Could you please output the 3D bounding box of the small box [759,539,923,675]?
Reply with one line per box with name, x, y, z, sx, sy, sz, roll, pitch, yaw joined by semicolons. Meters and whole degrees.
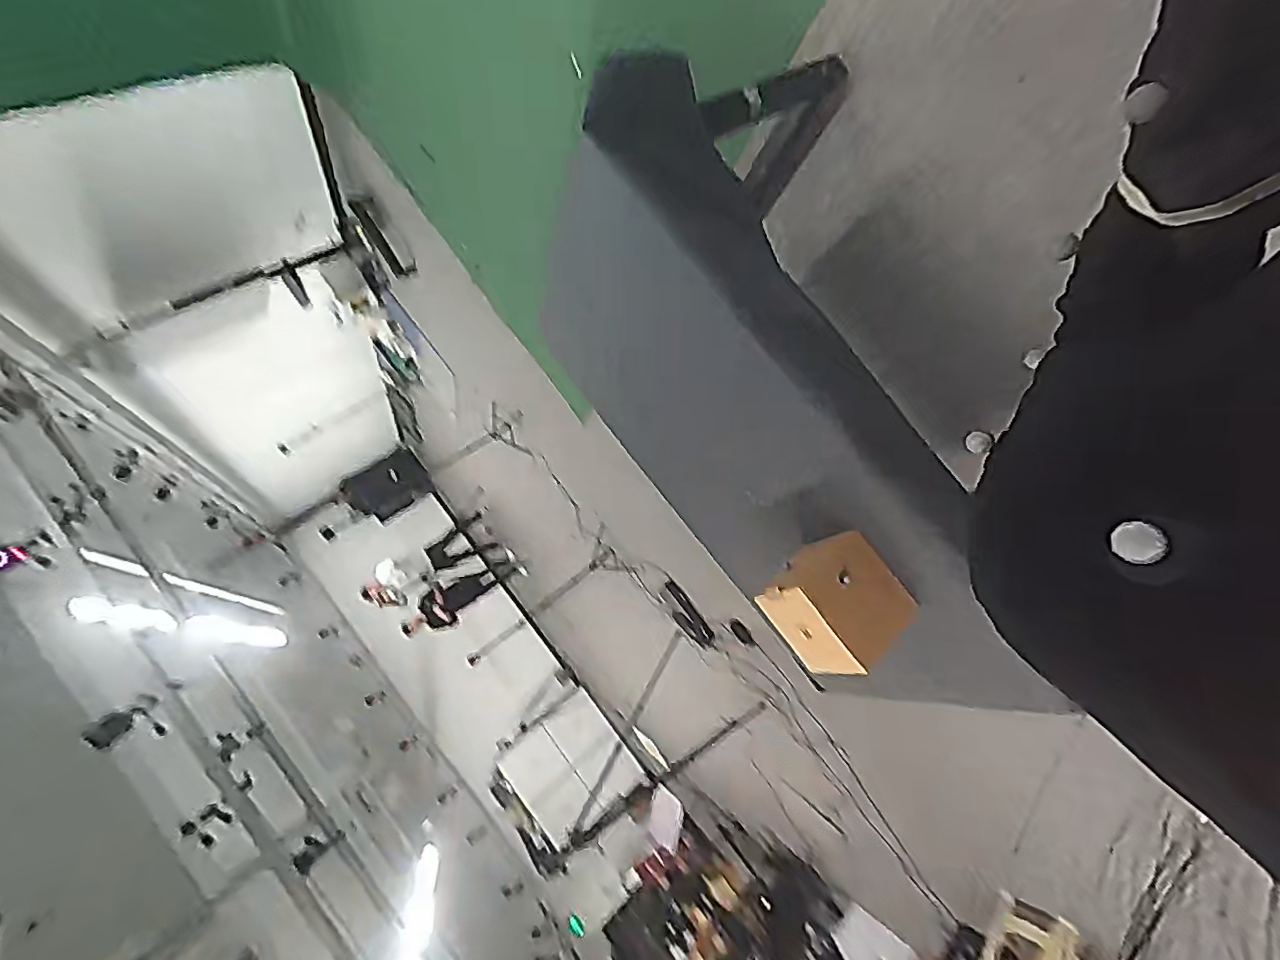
small box;0.355;0.223;0.966;0.179;0.176;0.168;51;156;5
